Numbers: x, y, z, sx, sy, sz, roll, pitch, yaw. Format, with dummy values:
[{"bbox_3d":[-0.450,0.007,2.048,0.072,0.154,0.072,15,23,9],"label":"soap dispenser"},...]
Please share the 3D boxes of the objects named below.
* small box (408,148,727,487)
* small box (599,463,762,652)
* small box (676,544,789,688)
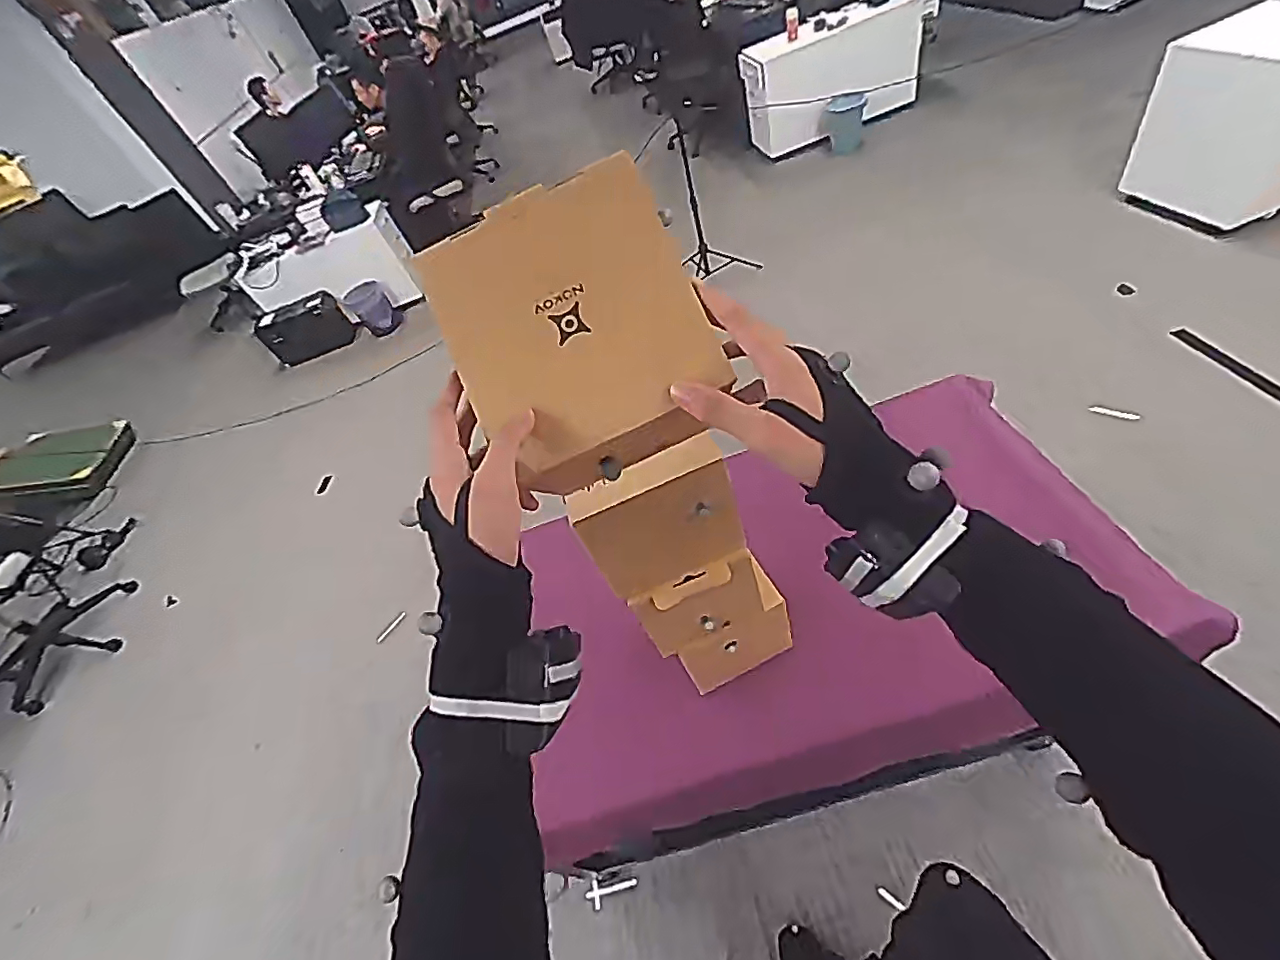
[{"bbox_3d":[-0.041,-0.102,0.430,0.168,0.176,0.179,-26,82,4],"label":"small box"},{"bbox_3d":[0.059,0.114,0.779,0.168,0.176,0.179,-24,47,1],"label":"small box"},{"bbox_3d":[0.127,0.213,0.893,0.179,0.176,0.168,-27,47,-3],"label":"small box"}]
